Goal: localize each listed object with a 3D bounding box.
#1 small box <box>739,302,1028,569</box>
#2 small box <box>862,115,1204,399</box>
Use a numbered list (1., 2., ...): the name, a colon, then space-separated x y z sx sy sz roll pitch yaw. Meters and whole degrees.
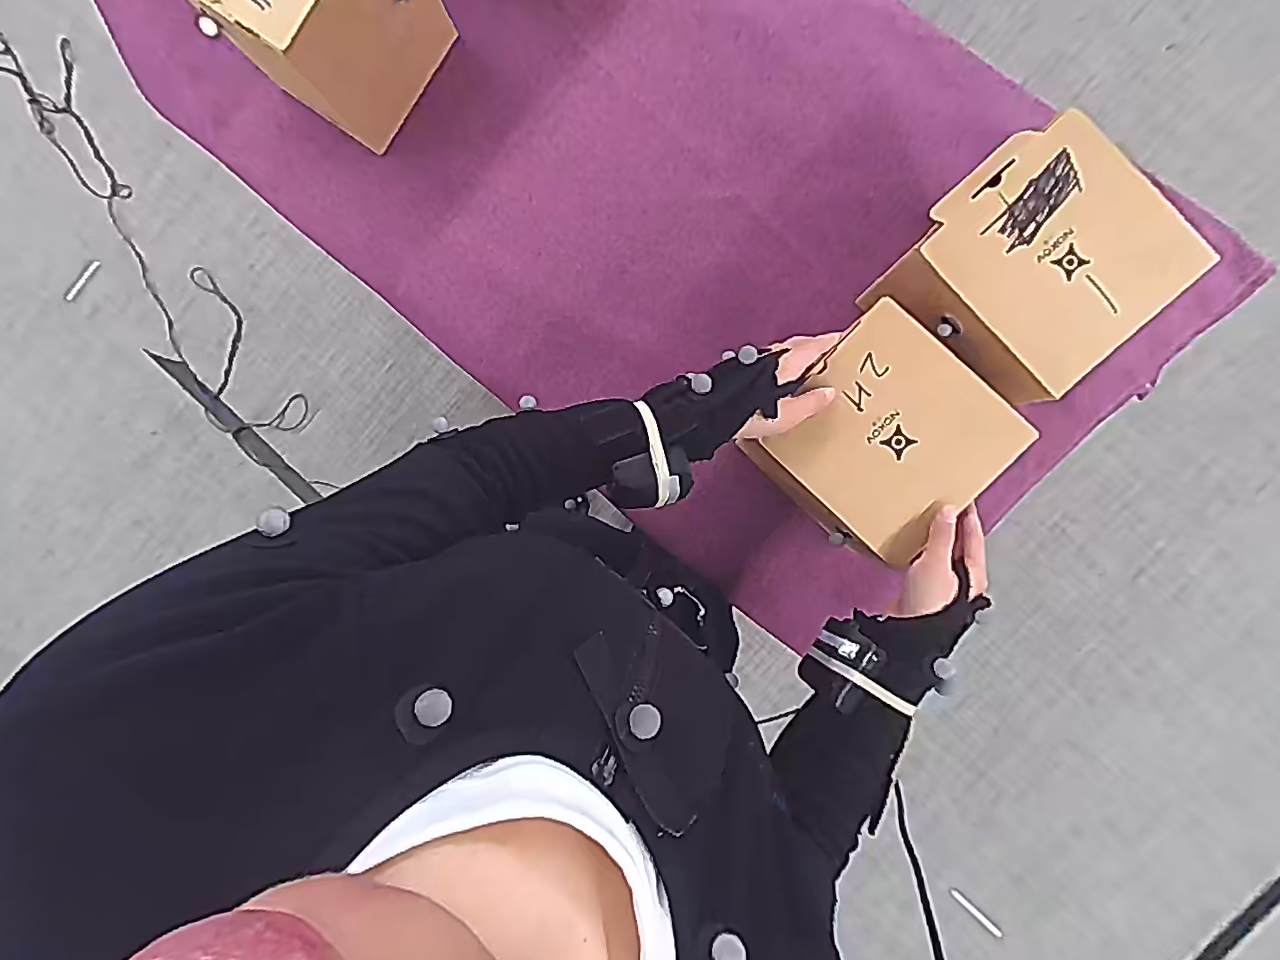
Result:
1. small box: 0.220 -0.041 0.545 0.179 0.176 0.168 45 95 3
2. small box: 0.355 -0.192 0.533 0.168 0.176 0.179 -42 89 6
